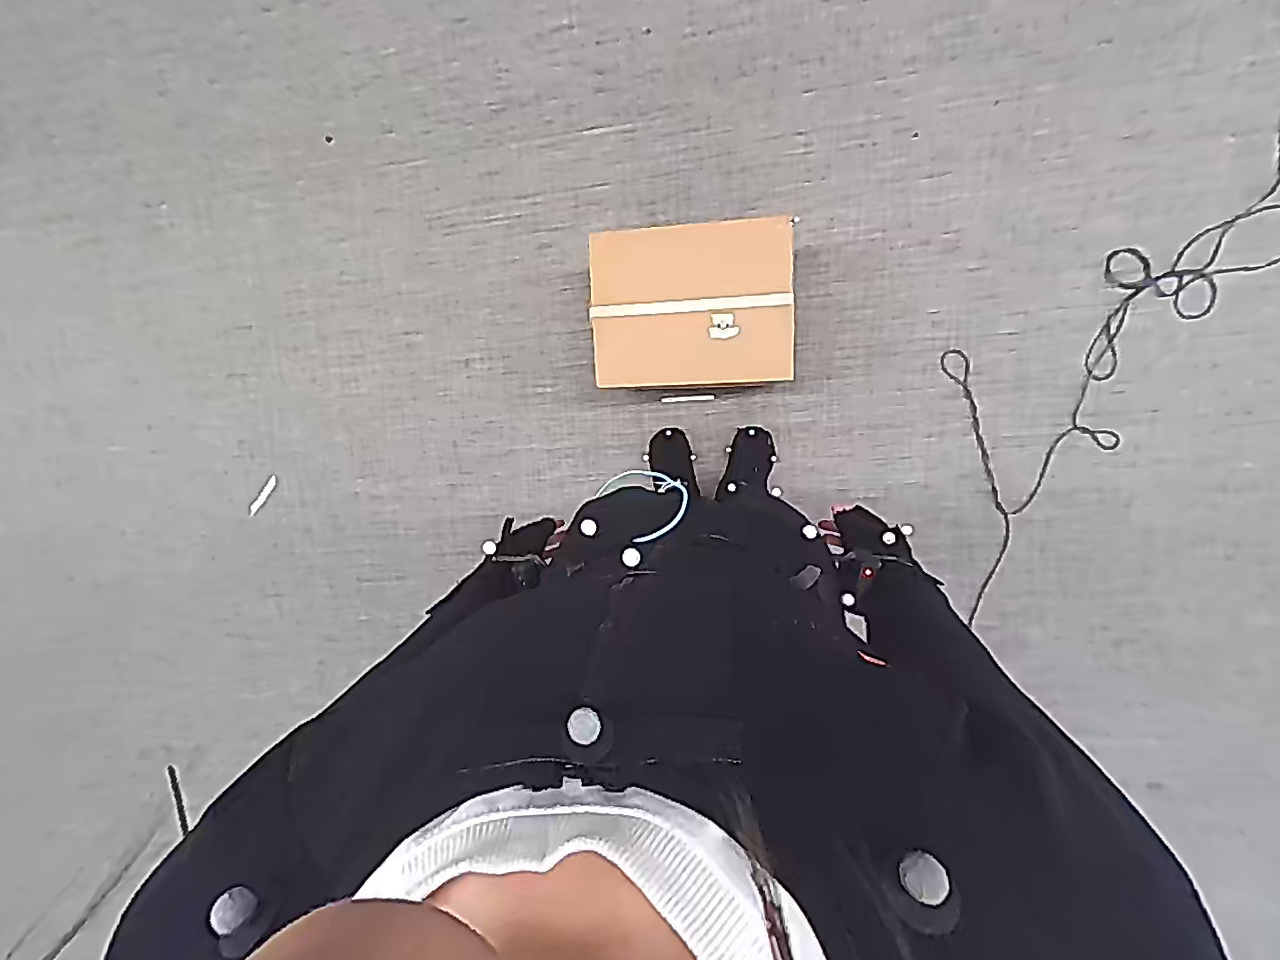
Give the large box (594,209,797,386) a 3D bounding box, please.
[{"bbox_3d":[0.130,-0.384,1.229,0.408,0.320,0.320,-1,99,9],"label":"large box"}]
